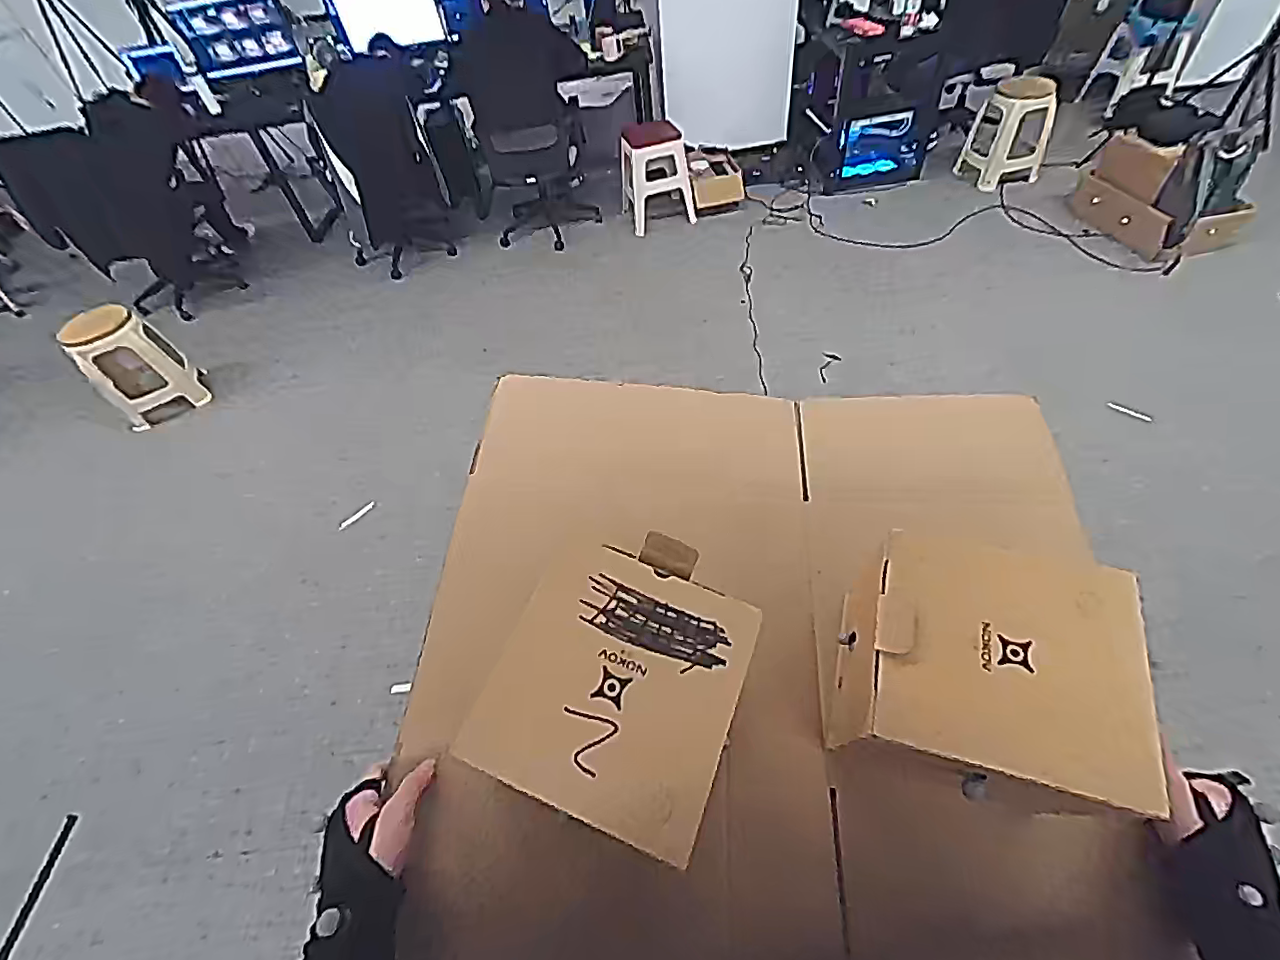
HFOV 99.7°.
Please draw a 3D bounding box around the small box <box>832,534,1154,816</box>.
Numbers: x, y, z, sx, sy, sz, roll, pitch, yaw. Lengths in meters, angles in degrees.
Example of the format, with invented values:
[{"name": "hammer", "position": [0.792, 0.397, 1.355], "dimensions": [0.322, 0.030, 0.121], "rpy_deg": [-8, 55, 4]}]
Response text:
[{"name": "small box", "position": [0.279, 0.168, 0.469], "dimensions": [0.179, 0.176, 0.168], "rpy_deg": [10, 62, 15]}]
